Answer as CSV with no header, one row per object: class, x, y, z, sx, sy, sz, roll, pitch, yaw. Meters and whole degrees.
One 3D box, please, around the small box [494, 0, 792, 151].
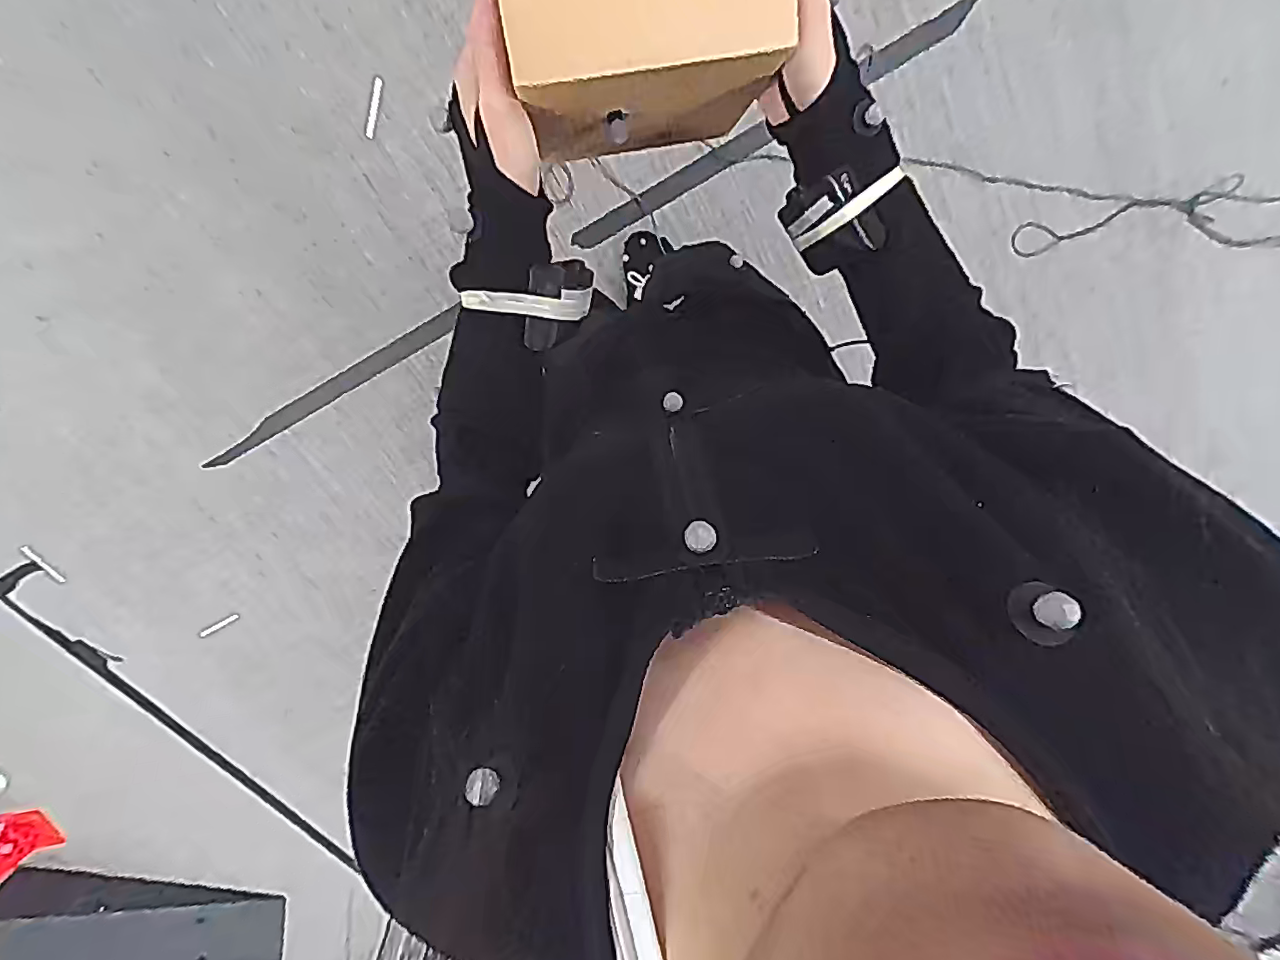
small box,-0.010,-0.339,0.356,0.168,0.176,0.179,-10,107,-2
